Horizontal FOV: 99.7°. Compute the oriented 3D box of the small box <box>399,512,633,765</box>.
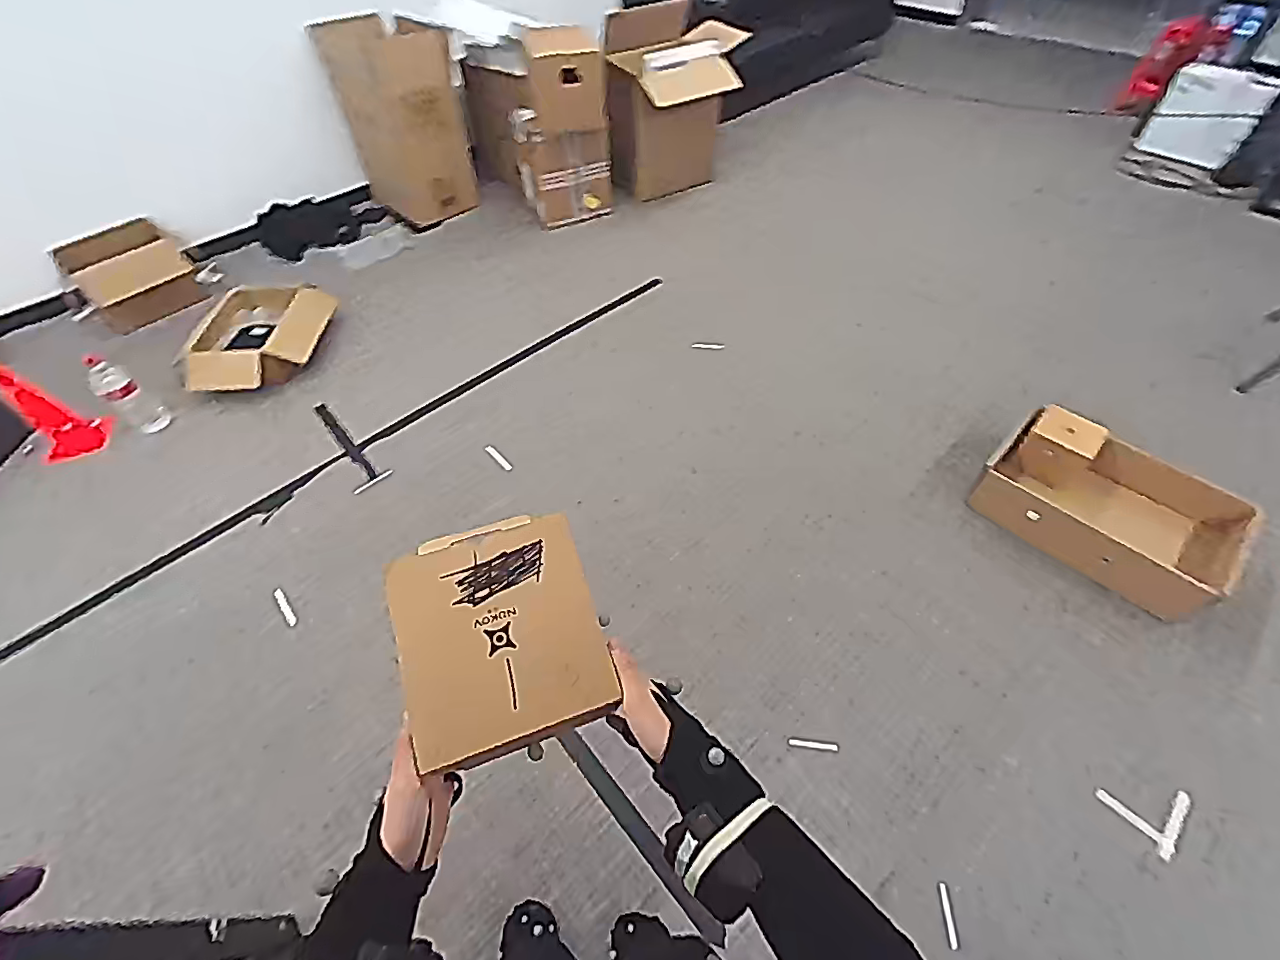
[{"bbox_3d":[-0.115,0.158,0.527,0.168,0.176,0.179,-16,66,-12],"label":"small box"}]
